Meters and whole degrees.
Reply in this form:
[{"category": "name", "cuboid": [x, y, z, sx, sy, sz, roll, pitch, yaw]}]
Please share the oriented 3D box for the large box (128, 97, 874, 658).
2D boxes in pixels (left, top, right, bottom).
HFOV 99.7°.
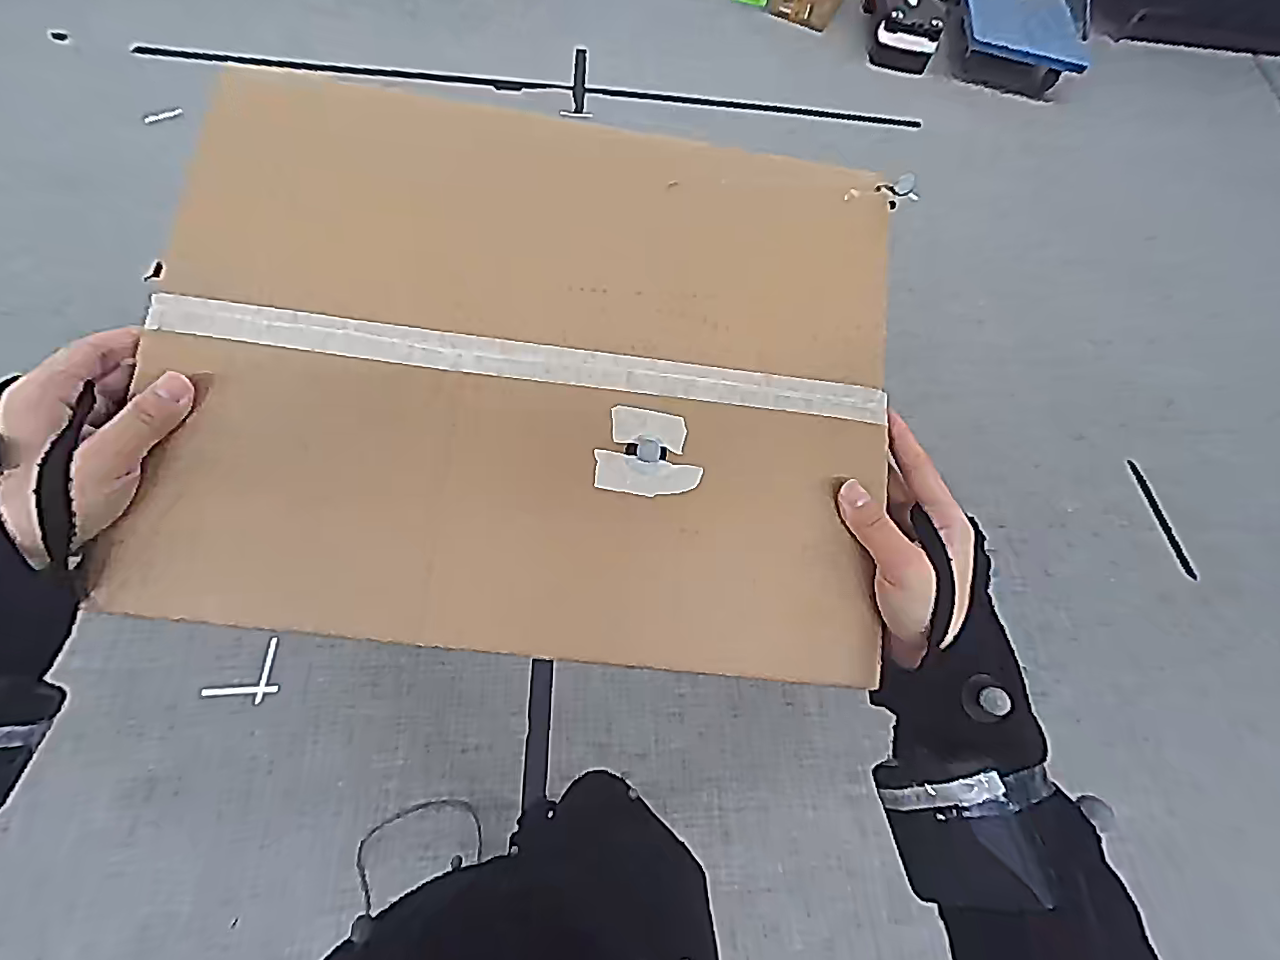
[{"category": "large box", "cuboid": [-0.070, -0.042, 0.466, 0.408, 0.320, 0.320, 7, 80, -4]}]
